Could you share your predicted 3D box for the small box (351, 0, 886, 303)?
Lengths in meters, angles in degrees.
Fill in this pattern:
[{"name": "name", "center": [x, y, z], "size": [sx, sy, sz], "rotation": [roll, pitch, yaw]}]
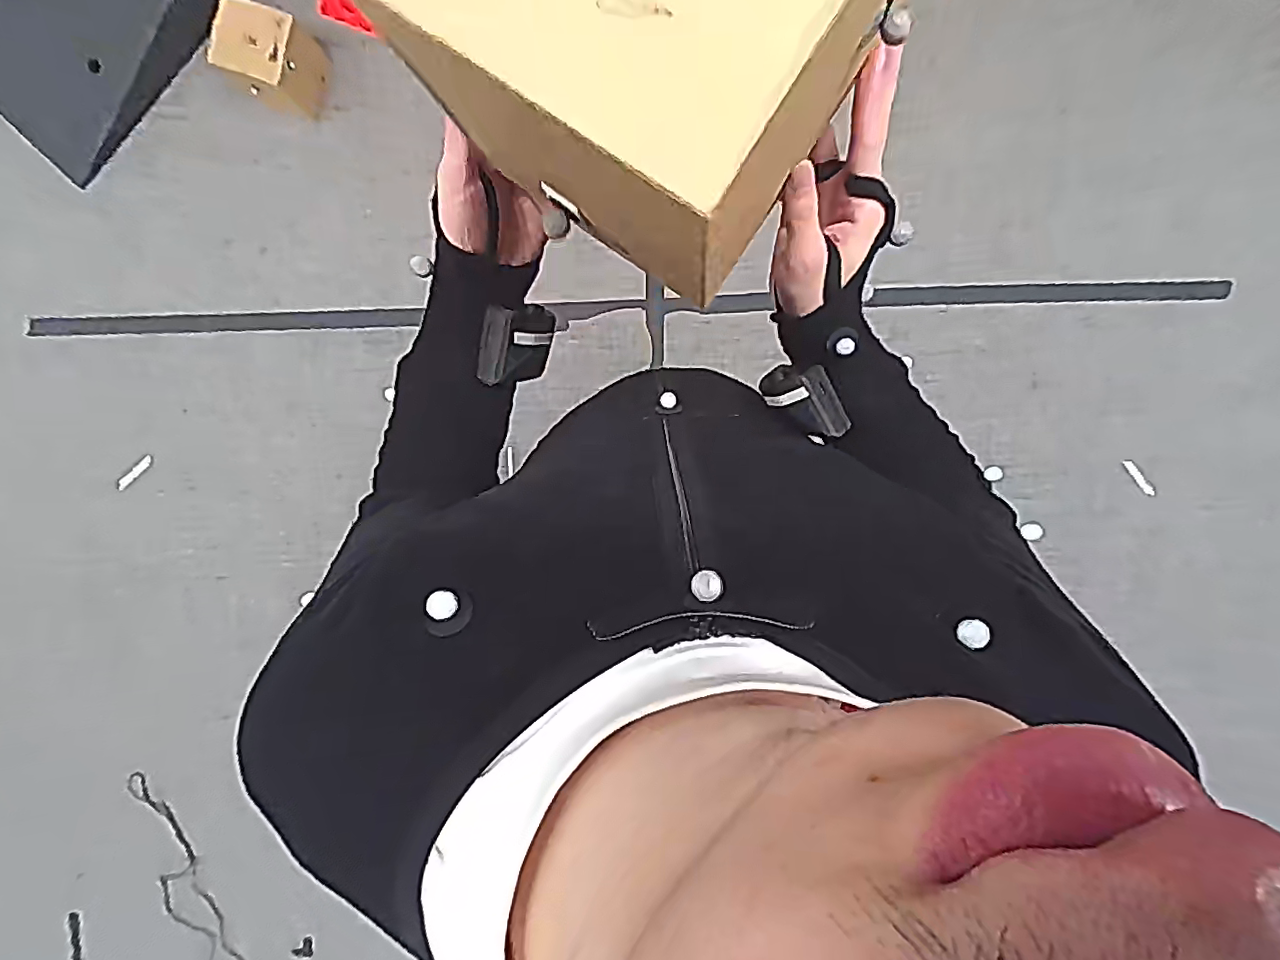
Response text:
[{"name": "small box", "center": [0.011, -0.215, 0.262], "size": [0.168, 0.176, 0.179], "rotation": [33, 100, 2]}]
